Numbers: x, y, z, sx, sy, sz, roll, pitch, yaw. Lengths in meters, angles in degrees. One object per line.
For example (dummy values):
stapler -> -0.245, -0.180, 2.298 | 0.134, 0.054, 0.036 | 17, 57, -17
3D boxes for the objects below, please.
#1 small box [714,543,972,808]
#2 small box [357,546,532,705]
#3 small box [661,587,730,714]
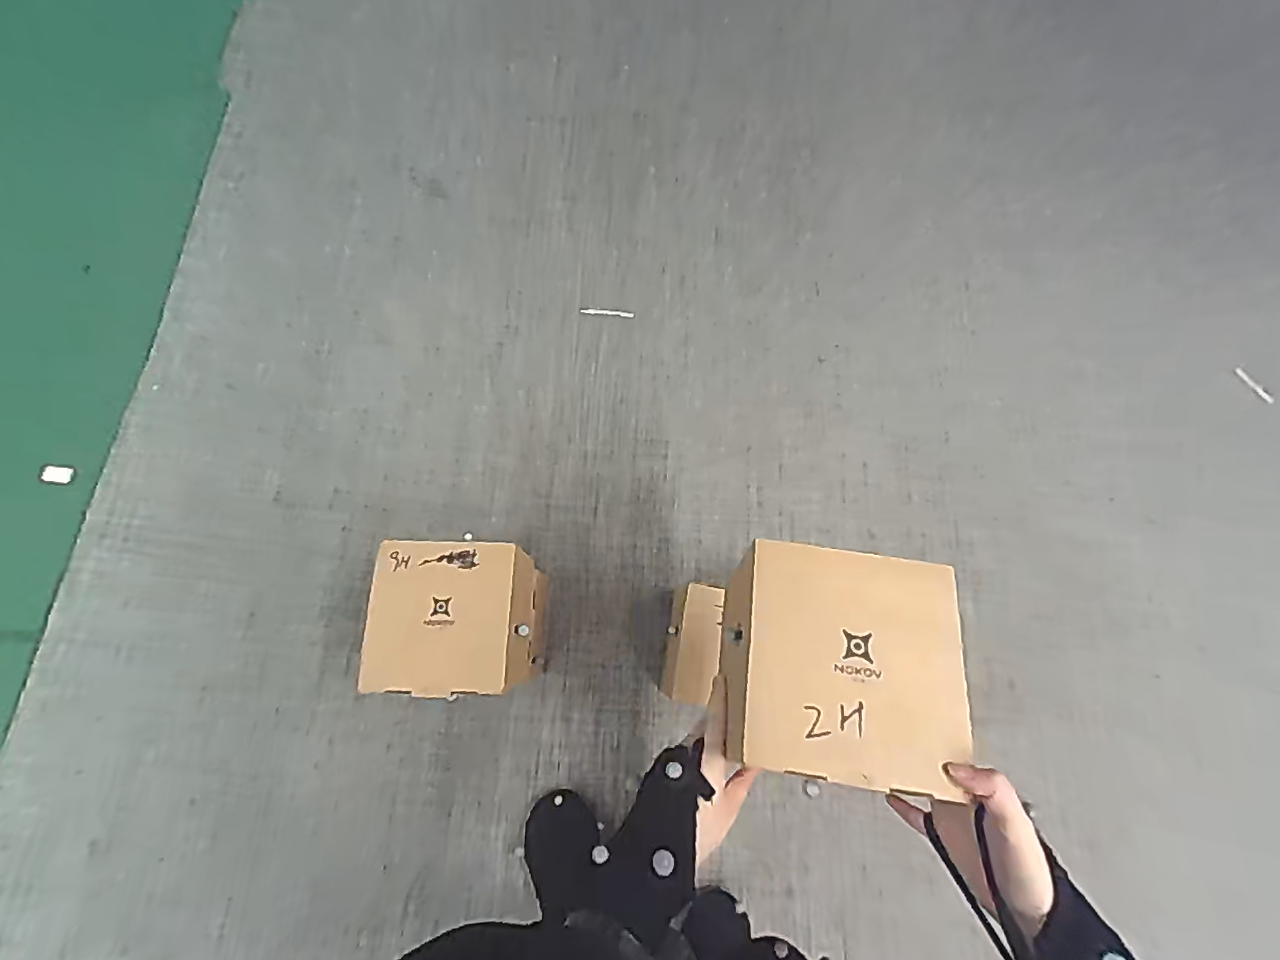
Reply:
small box -> 0.164, 0.177, 0.492 | 0.168, 0.176, 0.179 | 8, 64, 3
small box -> -0.237, 0.186, 0.701 | 0.168, 0.176, 0.179 | 2, 74, -4
small box -> 0.132, 0.279, 0.874 | 0.168, 0.176, 0.179 | 11, 75, -1
